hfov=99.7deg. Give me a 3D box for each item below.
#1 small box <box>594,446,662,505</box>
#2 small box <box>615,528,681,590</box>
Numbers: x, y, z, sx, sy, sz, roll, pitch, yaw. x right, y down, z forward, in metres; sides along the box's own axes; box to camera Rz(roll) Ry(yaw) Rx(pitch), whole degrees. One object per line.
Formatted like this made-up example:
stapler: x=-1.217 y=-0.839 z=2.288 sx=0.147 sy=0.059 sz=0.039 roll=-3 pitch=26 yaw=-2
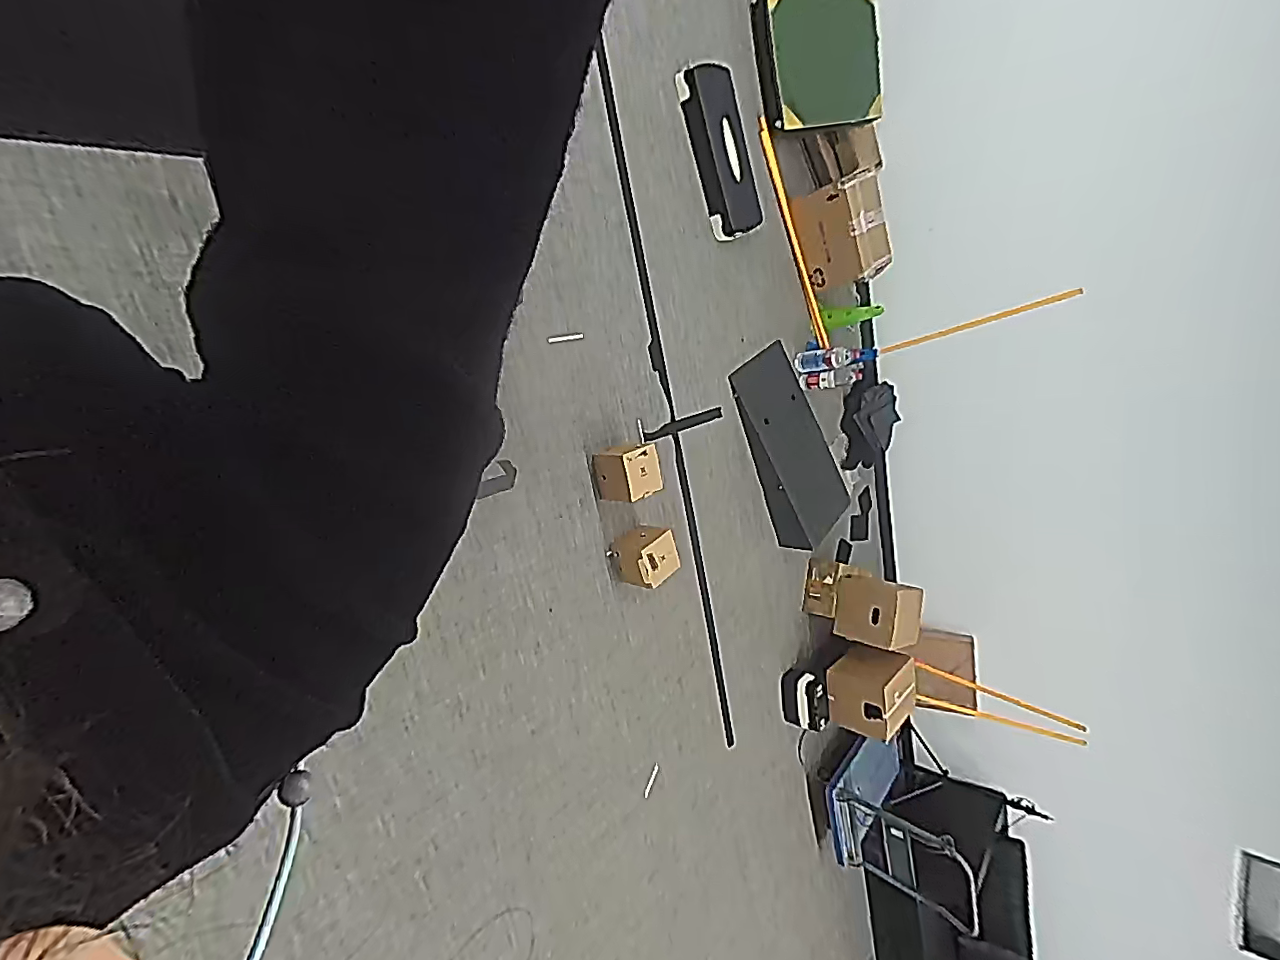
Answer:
small box: x=-0.044 y=-0.024 z=1.970 sx=0.168 sy=0.176 sz=0.179 roll=-23 pitch=109 yaw=-41
small box: x=0.023 y=0.295 z=2.054 sx=0.179 sy=0.176 sz=0.168 roll=-32 pitch=114 yaw=-39
